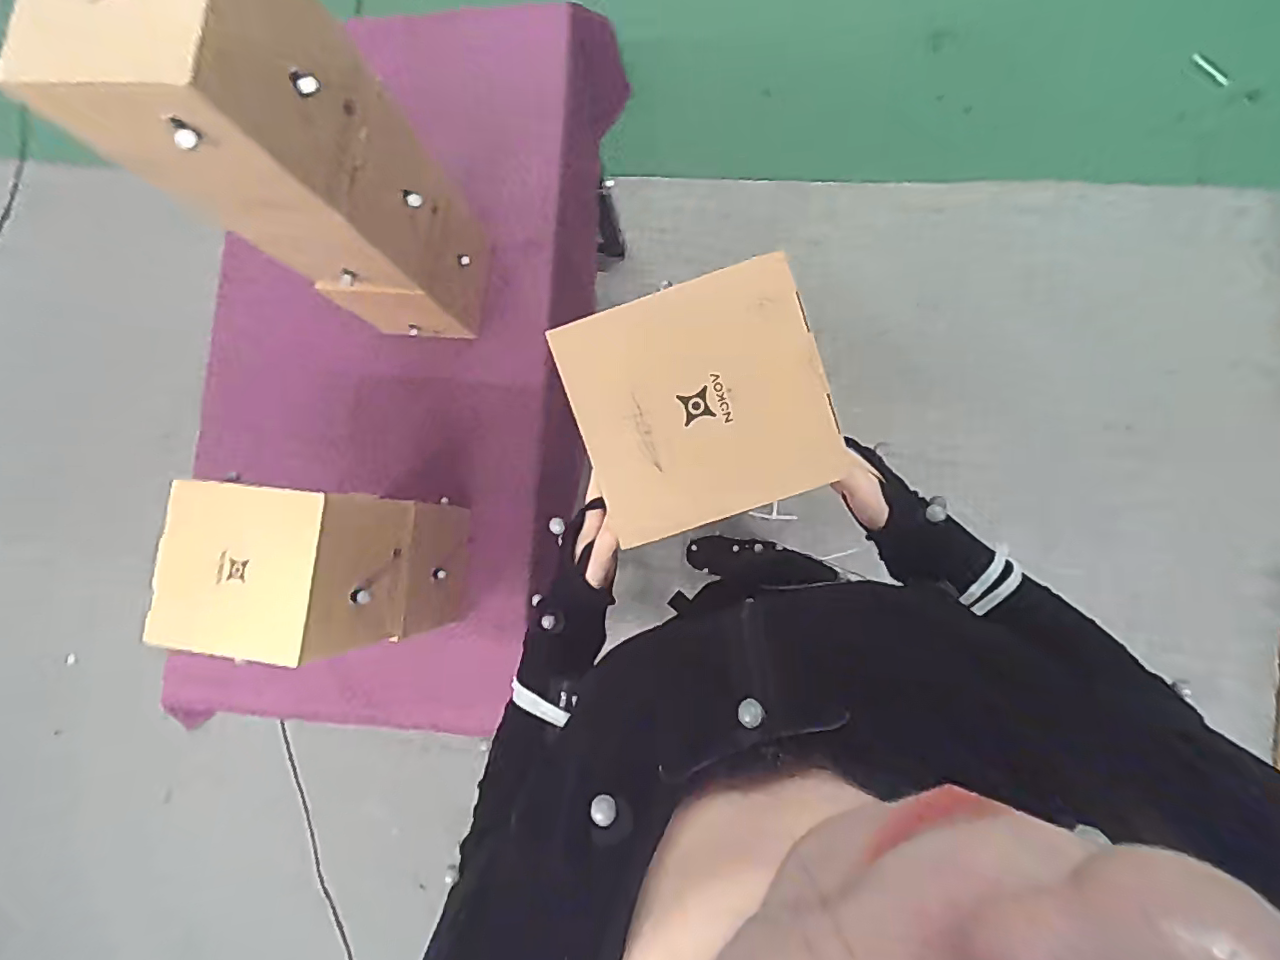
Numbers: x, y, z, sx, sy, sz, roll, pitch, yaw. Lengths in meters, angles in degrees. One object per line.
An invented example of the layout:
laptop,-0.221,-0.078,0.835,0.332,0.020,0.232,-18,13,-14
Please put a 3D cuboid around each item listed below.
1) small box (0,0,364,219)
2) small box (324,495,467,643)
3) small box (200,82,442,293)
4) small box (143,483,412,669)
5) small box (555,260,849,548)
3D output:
small box,-0.385,-0.360,0.488,0.179,0.176,0.168,7,85,9
small box,-0.360,0.120,0.763,0.168,0.176,0.179,4,84,8
small box,-0.365,-0.343,0.652,0.179,0.176,0.168,8,85,8
small box,-0.384,0.098,0.604,0.179,0.176,0.168,5,84,9
small box,0.046,-0.059,0.459,0.179,0.176,0.168,-17,95,4
